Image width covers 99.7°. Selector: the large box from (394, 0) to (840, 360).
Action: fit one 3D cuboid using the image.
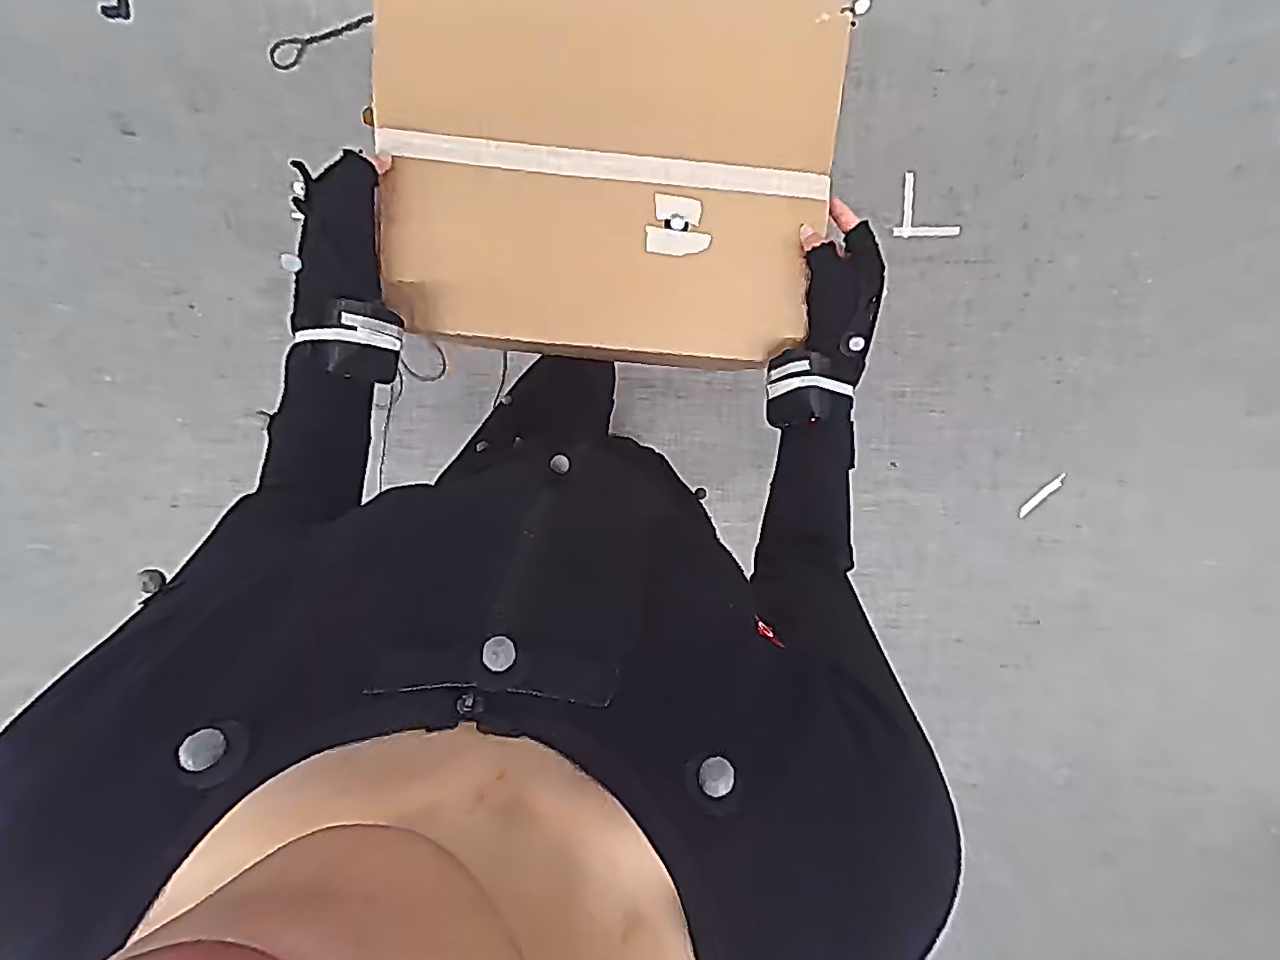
[{"bbox_3d":[-0.035,-0.318,0.649,0.408,0.320,0.320,4,101,-4],"label":"large box"}]
